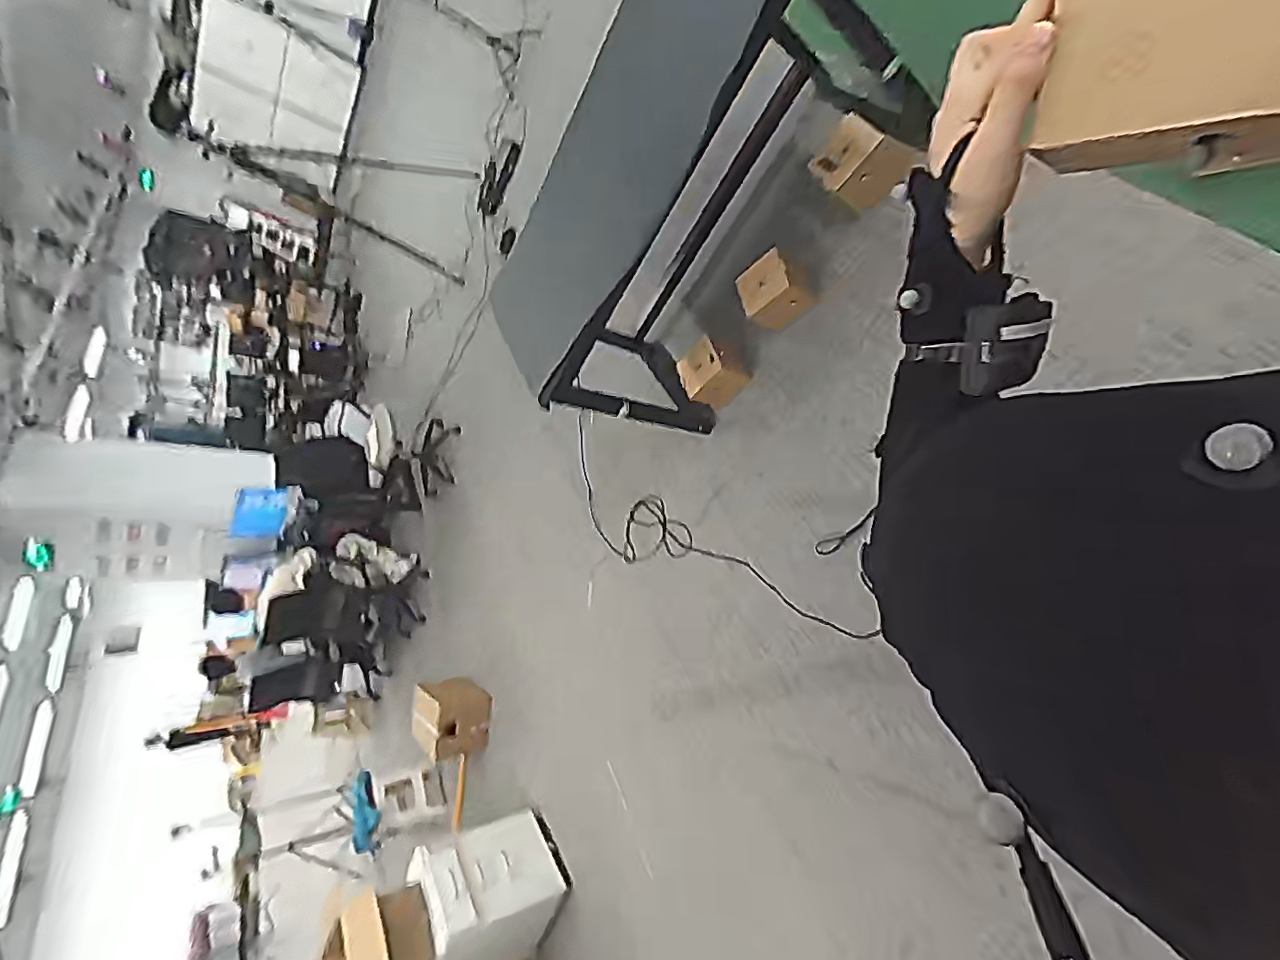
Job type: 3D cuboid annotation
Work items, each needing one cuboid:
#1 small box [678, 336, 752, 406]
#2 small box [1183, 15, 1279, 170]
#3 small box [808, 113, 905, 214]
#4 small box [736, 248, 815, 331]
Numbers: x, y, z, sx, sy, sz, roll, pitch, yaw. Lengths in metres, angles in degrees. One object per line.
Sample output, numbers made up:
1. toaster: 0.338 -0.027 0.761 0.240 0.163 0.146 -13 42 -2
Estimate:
1. small box: 0.275 -0.392 1.979 0.179 0.176 0.168 -43 55 38
2. small box: 1.145 -0.714 0.999 0.168 0.176 0.179 15 97 49
3. small box: 0.646 -0.934 1.613 0.179 0.176 0.168 -48 52 33
4. small box: 0.456 -0.625 1.796 0.179 0.176 0.168 -35 59 43
